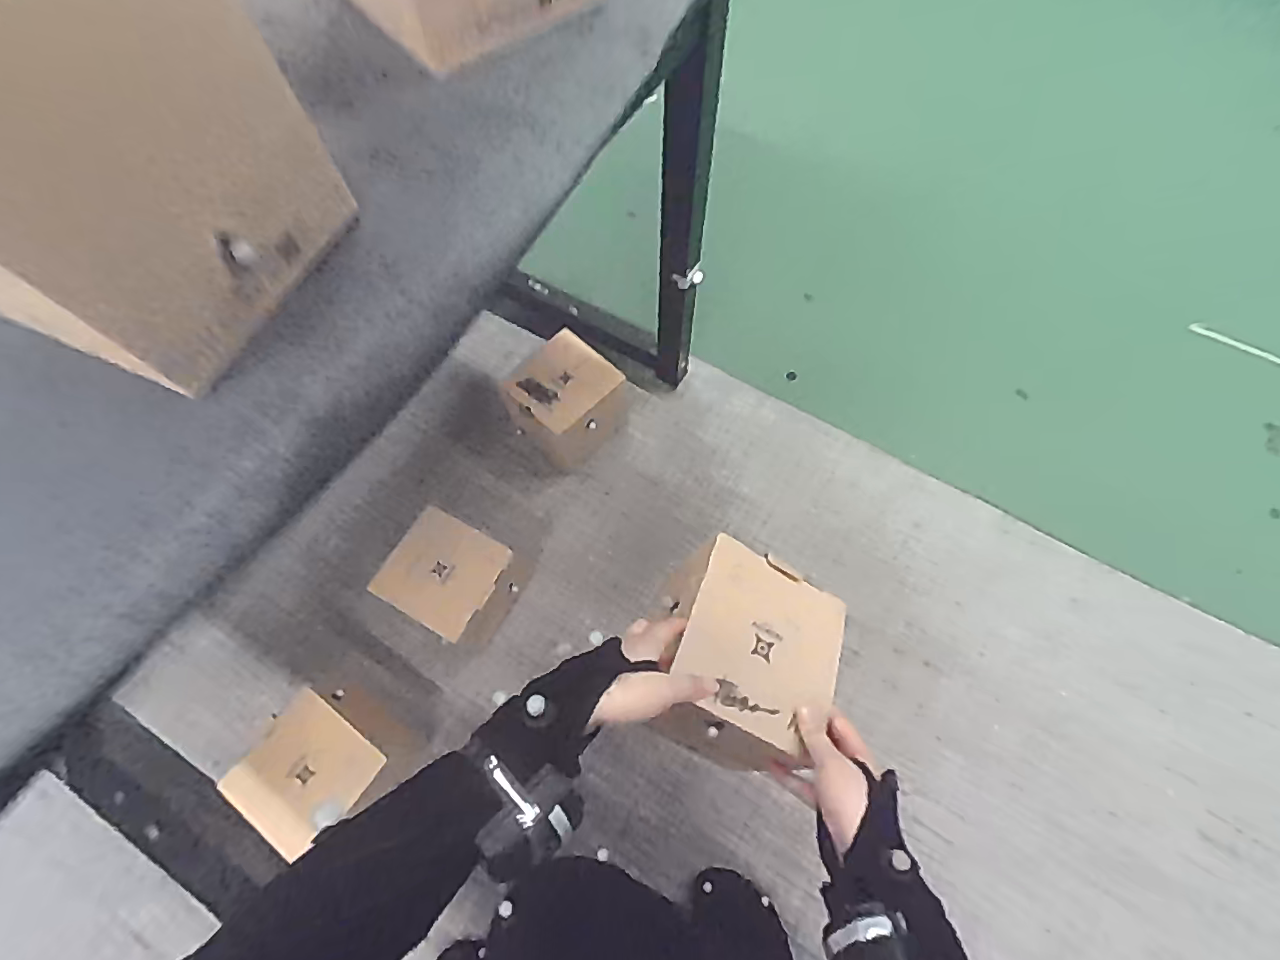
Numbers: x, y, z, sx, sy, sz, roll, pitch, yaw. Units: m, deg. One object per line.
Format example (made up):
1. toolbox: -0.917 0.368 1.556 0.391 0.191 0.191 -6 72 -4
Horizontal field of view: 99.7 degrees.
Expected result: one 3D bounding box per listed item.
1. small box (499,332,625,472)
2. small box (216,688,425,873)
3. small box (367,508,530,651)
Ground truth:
1. small box: -0.141 -0.144 1.057 0.168 0.176 0.179 42 72 15
2. small box: -0.465 0.436 0.820 0.179 0.176 0.168 33 72 13
3. small box: -0.311 0.178 0.924 0.179 0.176 0.168 26 69 12
